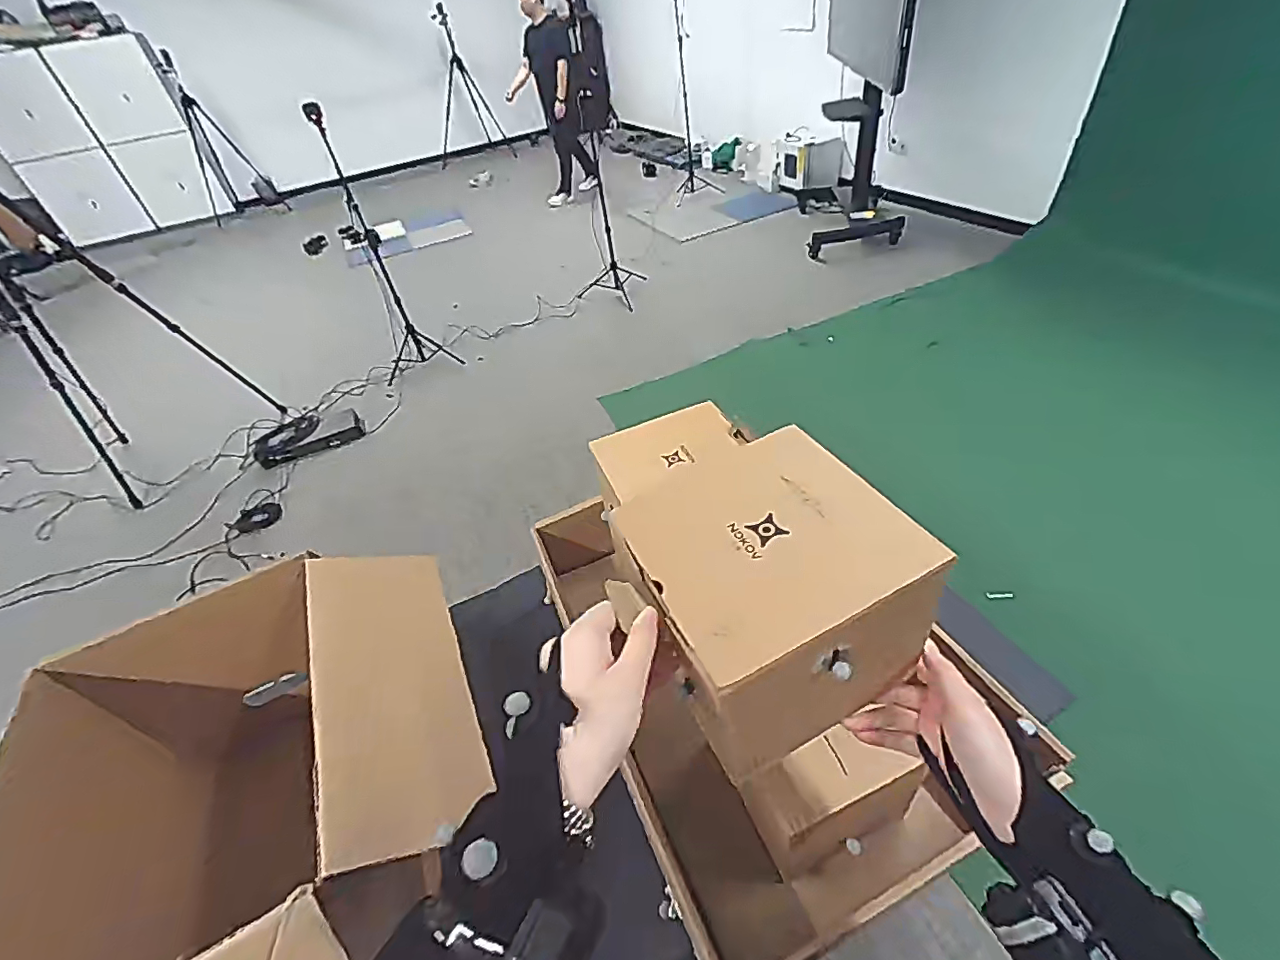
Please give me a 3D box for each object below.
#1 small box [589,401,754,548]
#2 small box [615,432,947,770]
[{"bbox_3d":[0.054,0.032,0.695,0.179,0.176,0.168,-20,45,-11],"label":"small box"},{"bbox_3d":[0.103,0.097,0.437,0.179,0.176,0.168,-25,46,-12],"label":"small box"}]
